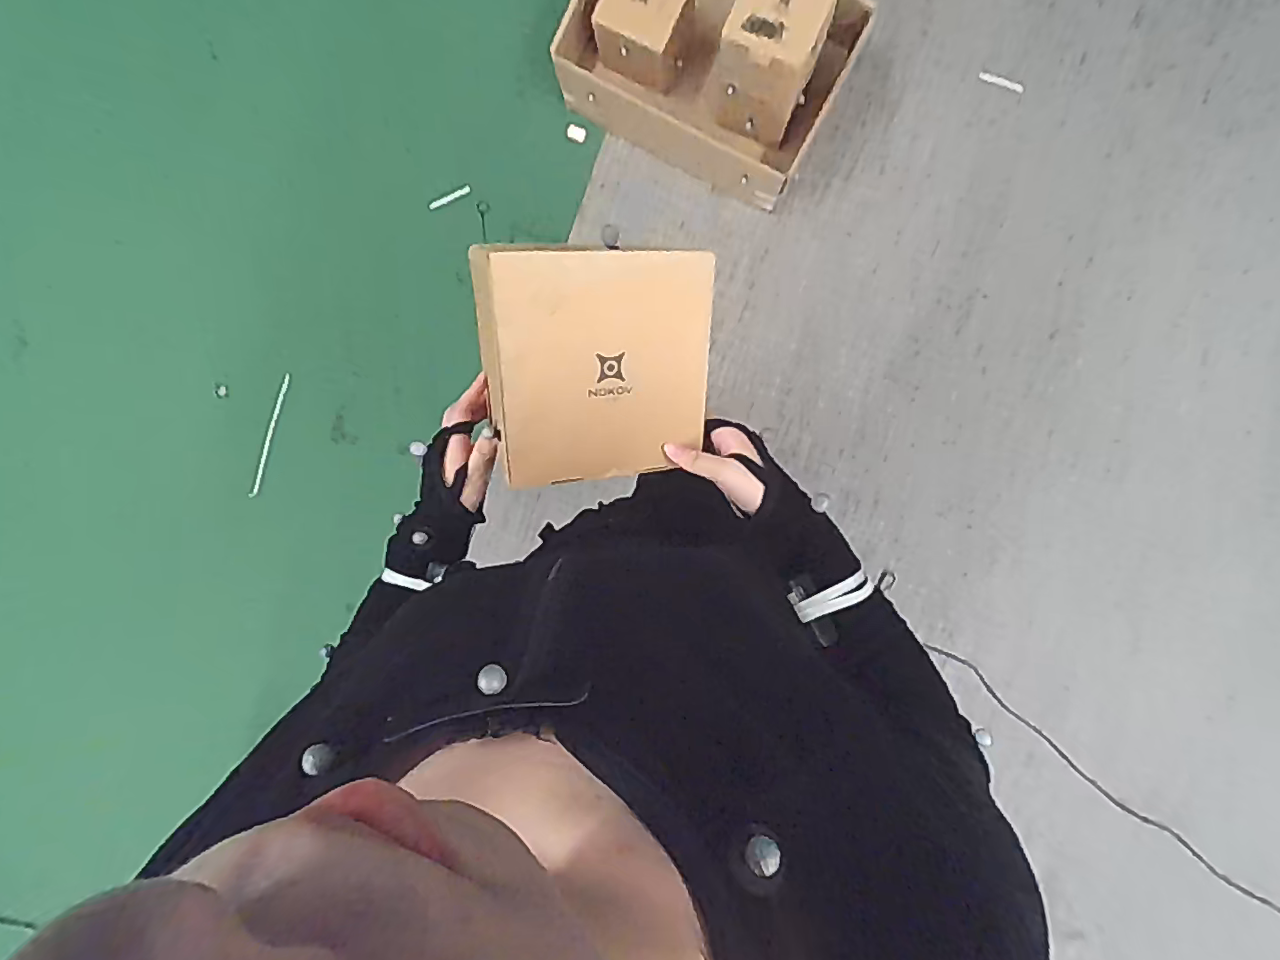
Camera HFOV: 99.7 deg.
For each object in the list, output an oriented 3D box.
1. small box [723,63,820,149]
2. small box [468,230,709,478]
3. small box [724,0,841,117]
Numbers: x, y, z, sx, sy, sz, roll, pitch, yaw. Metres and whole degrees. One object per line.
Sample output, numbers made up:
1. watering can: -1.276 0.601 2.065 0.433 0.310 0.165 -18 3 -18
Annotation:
1. small box: 0.298 -0.896 1.223 0.168 0.176 0.179 25 99 3
2. small box: -0.055 -0.122 0.478 0.168 0.176 0.179 -8 118 -18
3. small box: 0.276 -0.865 1.063 0.168 0.176 0.179 27 97 4
